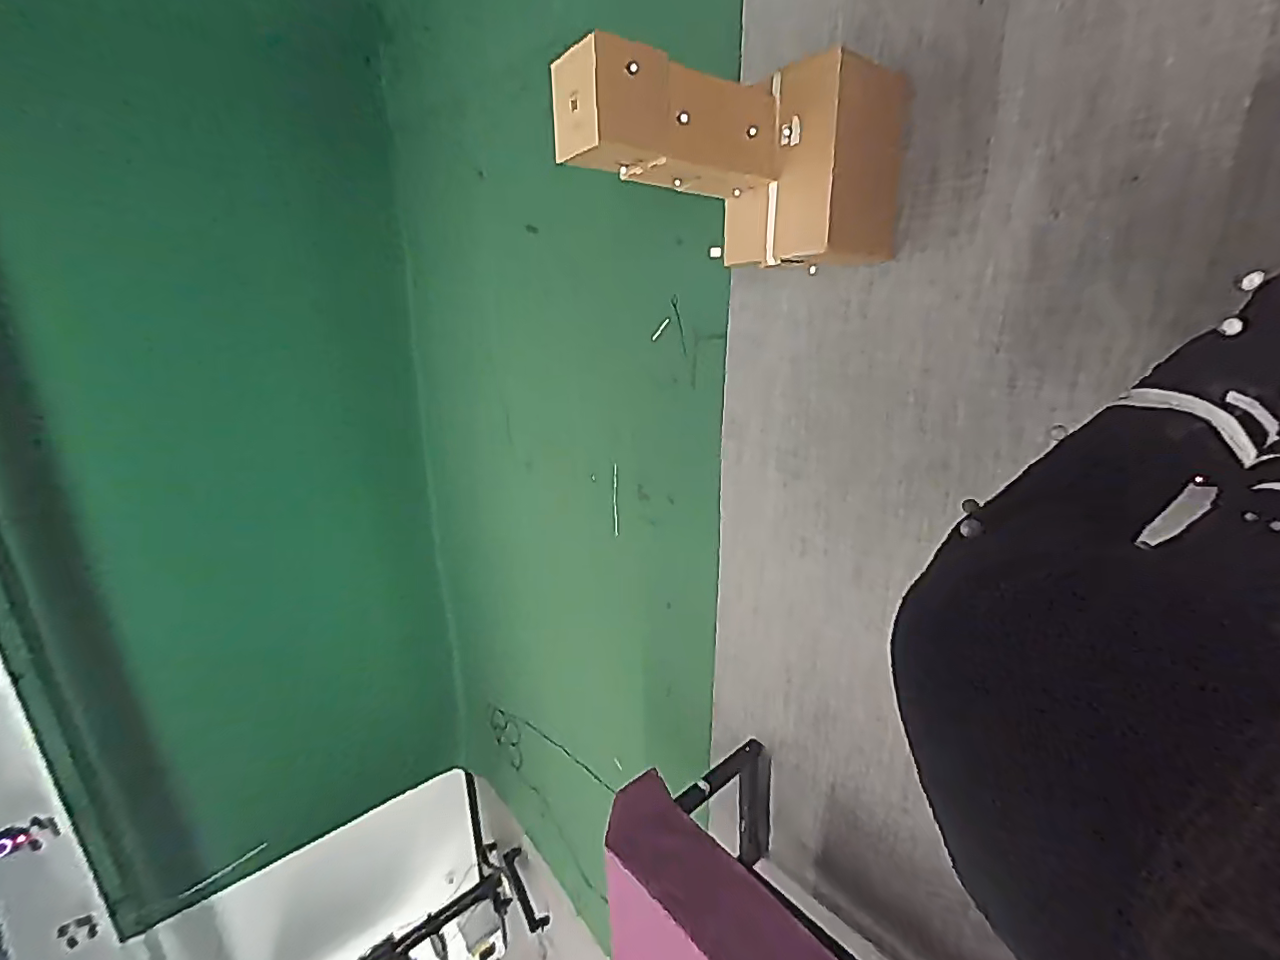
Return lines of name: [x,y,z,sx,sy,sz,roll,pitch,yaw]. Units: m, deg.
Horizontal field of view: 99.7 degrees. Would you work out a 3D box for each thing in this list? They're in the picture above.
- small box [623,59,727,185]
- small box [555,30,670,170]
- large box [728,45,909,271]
small box: [0.076,-0.763,1.173,0.168,0.176,0.179,19,116,51]
small box: [-0.051,-0.738,1.073,0.168,0.176,0.179,22,119,50]
large box: [0.444,-0.768,1.374,0.320,0.320,0.408,17,113,48]
